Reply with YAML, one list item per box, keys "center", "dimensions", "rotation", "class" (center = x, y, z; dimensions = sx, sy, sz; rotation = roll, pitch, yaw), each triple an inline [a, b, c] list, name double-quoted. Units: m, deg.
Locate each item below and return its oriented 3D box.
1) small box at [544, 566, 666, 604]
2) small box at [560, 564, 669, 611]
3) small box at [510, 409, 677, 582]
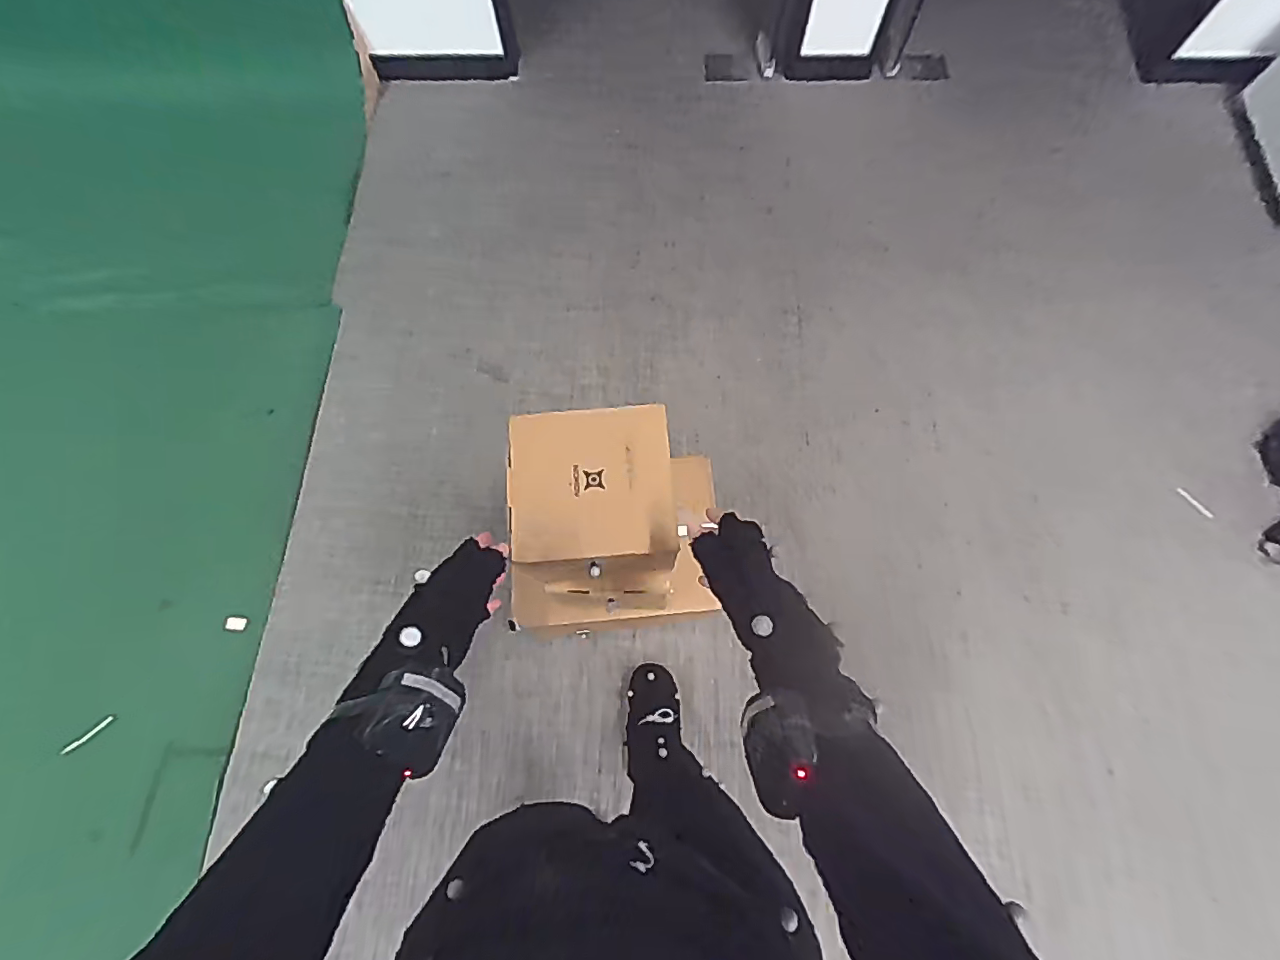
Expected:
- center: [-0.043, 0.092, 0.812]
  dimensions: [0.168, 0.176, 0.179]
  rotation: [0, 72, 1]
  class: "small box"
- center: [-0.039, 0.143, 0.966]
  dimensions: [0.179, 0.176, 0.168]
  rotation: [0, 72, 2]
  class: "small box"
- center: [-0.052, 0.028, 0.662]
  dimensions: [0.179, 0.176, 0.168]
  rotation: [-5, 73, -2]
  class: "small box"
